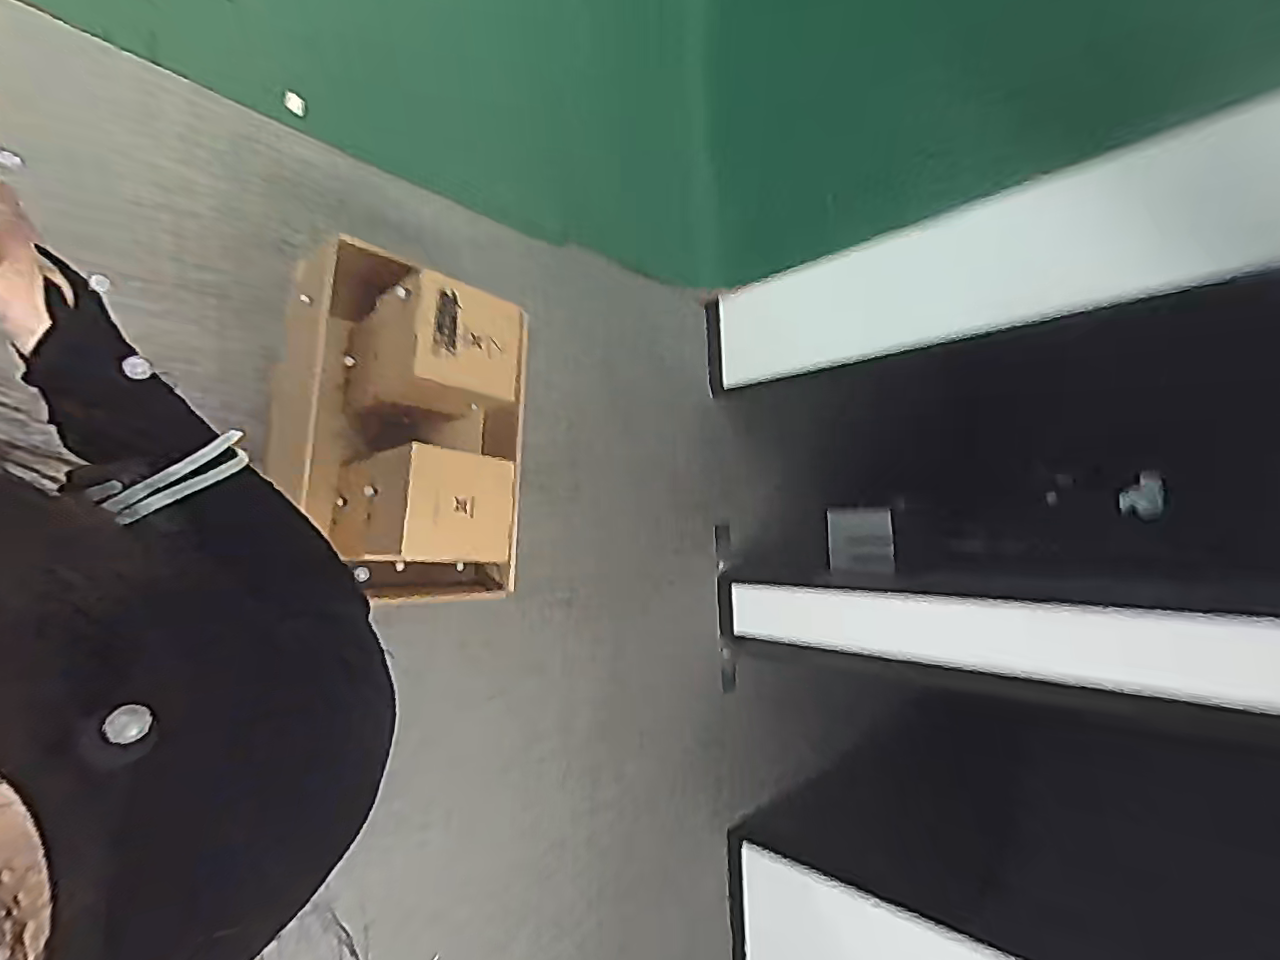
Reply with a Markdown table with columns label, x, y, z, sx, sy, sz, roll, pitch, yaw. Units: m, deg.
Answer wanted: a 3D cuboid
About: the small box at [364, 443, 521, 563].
| label | x | y | z | sx | sy | sz | roll | pitch | yaw |
| --- | --- | --- | --- | --- | --- | --- | --- | --- | --- |
| small box | -0.319 | 0.045 | 0.878 | 0.179 | 0.176 | 0.168 | 13 | 76 | -44 |
